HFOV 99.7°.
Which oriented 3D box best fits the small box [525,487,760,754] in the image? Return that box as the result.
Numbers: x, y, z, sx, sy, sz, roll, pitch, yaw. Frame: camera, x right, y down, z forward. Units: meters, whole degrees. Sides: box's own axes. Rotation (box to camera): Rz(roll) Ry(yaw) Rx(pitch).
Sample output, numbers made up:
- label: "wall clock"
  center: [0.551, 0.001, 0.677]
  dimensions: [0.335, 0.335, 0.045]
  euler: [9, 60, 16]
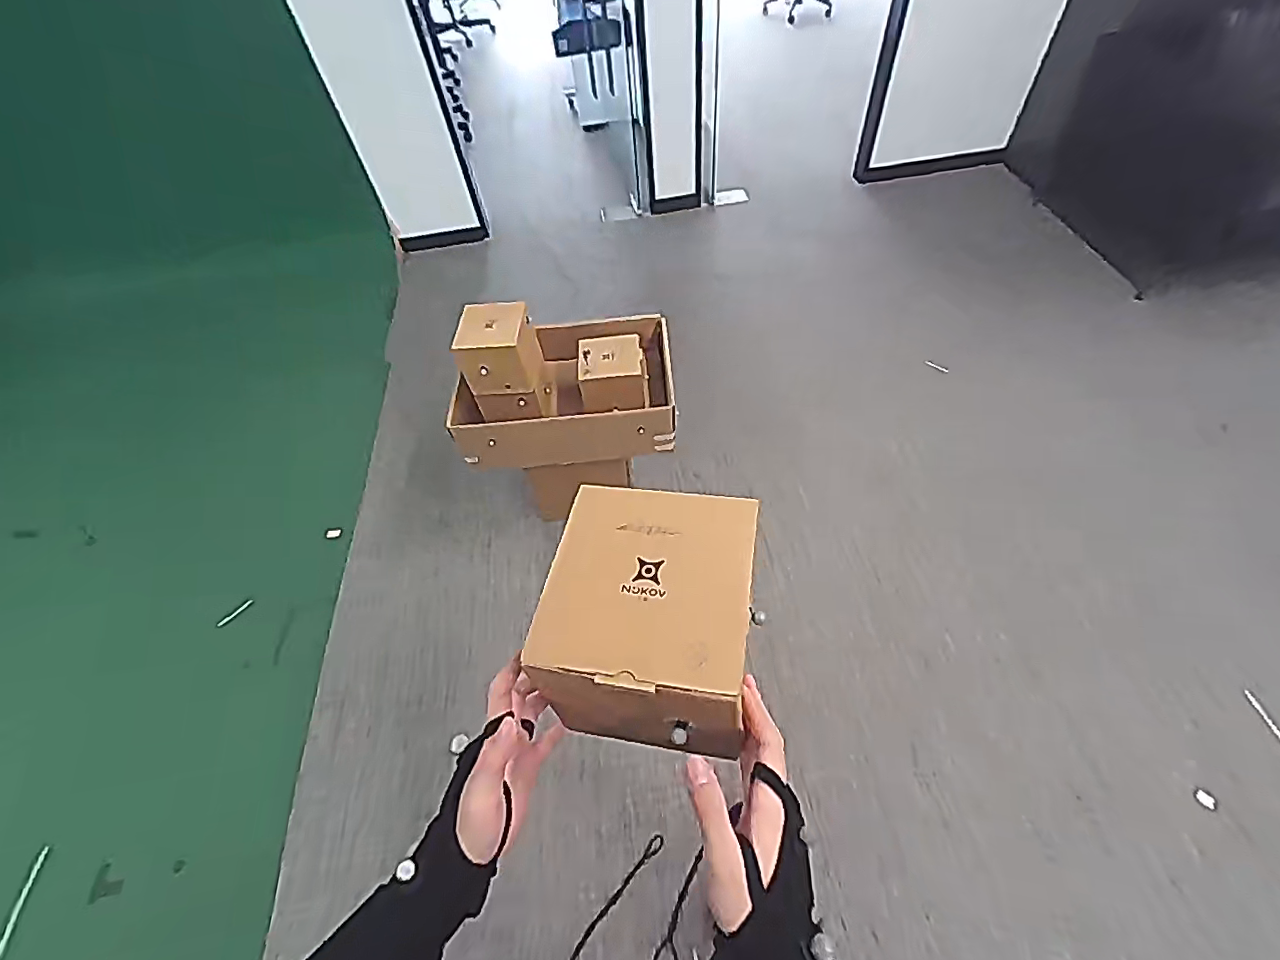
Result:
- label: "small box"
  center: [0.019, 0.130, 0.498]
  dimensions: [0.168, 0.176, 0.179]
  euler: [5, 50, 13]

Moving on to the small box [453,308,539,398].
- label: "small box"
  center: [-0.372, -0.330, 1.433]
  dimensions: [0.168, 0.176, 0.179]
  euler: [-2, 53, 4]
